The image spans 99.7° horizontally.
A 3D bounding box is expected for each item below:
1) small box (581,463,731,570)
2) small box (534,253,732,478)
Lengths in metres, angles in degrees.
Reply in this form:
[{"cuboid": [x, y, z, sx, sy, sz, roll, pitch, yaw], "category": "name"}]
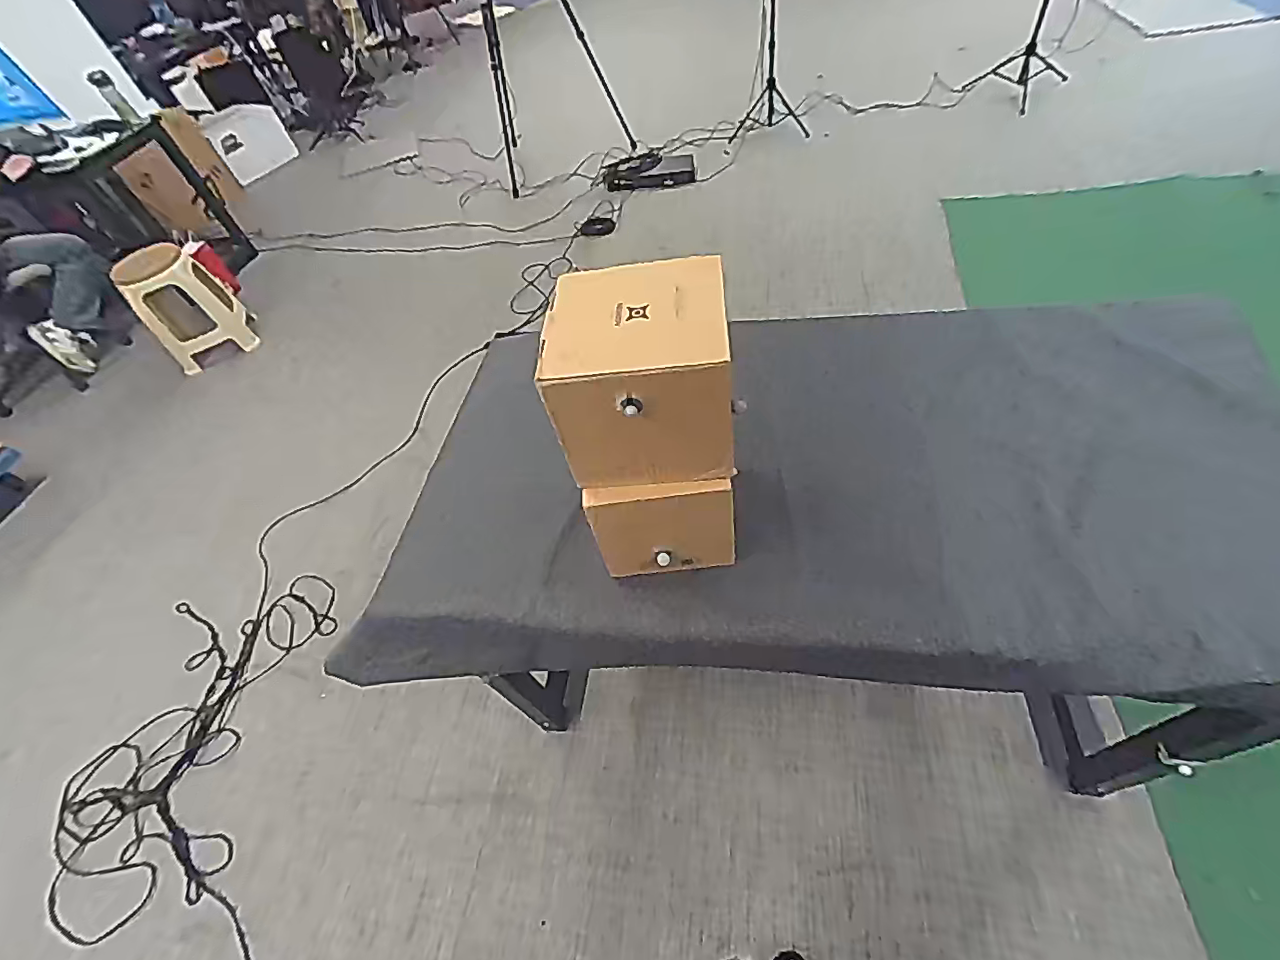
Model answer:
[{"cuboid": [0.024, -0.004, 0.699, 0.168, 0.176, 0.179, -7, 52, 6], "category": "small box"}, {"cuboid": [0.005, -0.114, 0.581, 0.179, 0.176, 0.168, -3, 54, 8], "category": "small box"}]
